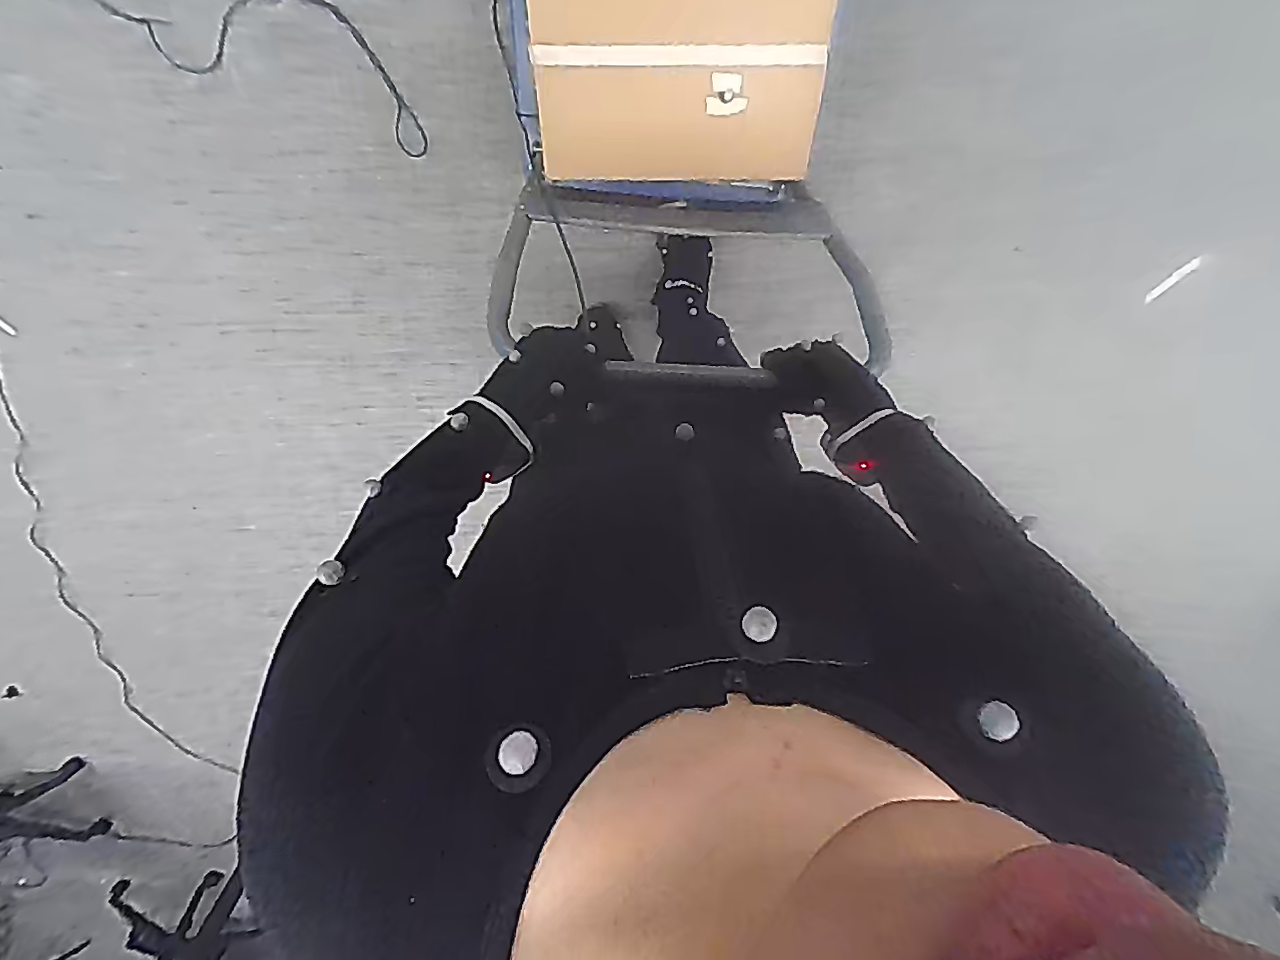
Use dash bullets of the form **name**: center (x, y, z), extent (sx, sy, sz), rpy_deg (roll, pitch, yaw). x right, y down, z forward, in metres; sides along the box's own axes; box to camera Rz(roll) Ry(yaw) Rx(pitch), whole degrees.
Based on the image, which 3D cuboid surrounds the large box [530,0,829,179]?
- **large box**: center (0.046, -0.695, 0.859), extent (0.408, 0.320, 0.320), rpy_deg (-2, 134, -2)
